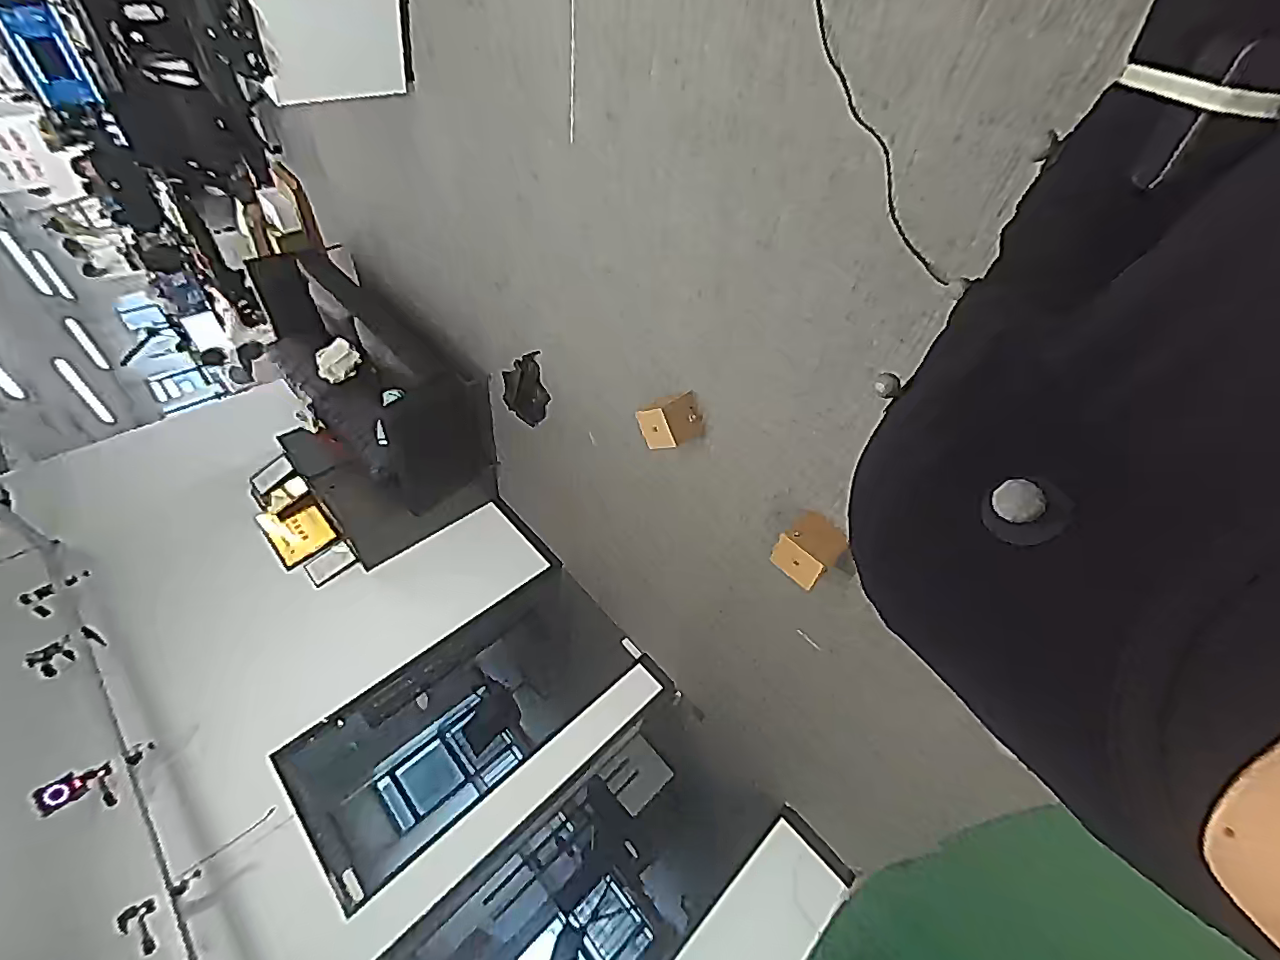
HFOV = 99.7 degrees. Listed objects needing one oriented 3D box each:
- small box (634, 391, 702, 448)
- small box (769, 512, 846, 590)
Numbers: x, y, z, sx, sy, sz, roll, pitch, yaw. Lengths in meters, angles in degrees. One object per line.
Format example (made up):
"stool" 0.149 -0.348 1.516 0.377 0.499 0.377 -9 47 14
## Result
"small box" 0.114 -0.237 2.132 0.179 0.176 0.168 -1 118 54
"small box" 0.587 0.245 1.892 0.179 0.176 0.168 41 145 27
